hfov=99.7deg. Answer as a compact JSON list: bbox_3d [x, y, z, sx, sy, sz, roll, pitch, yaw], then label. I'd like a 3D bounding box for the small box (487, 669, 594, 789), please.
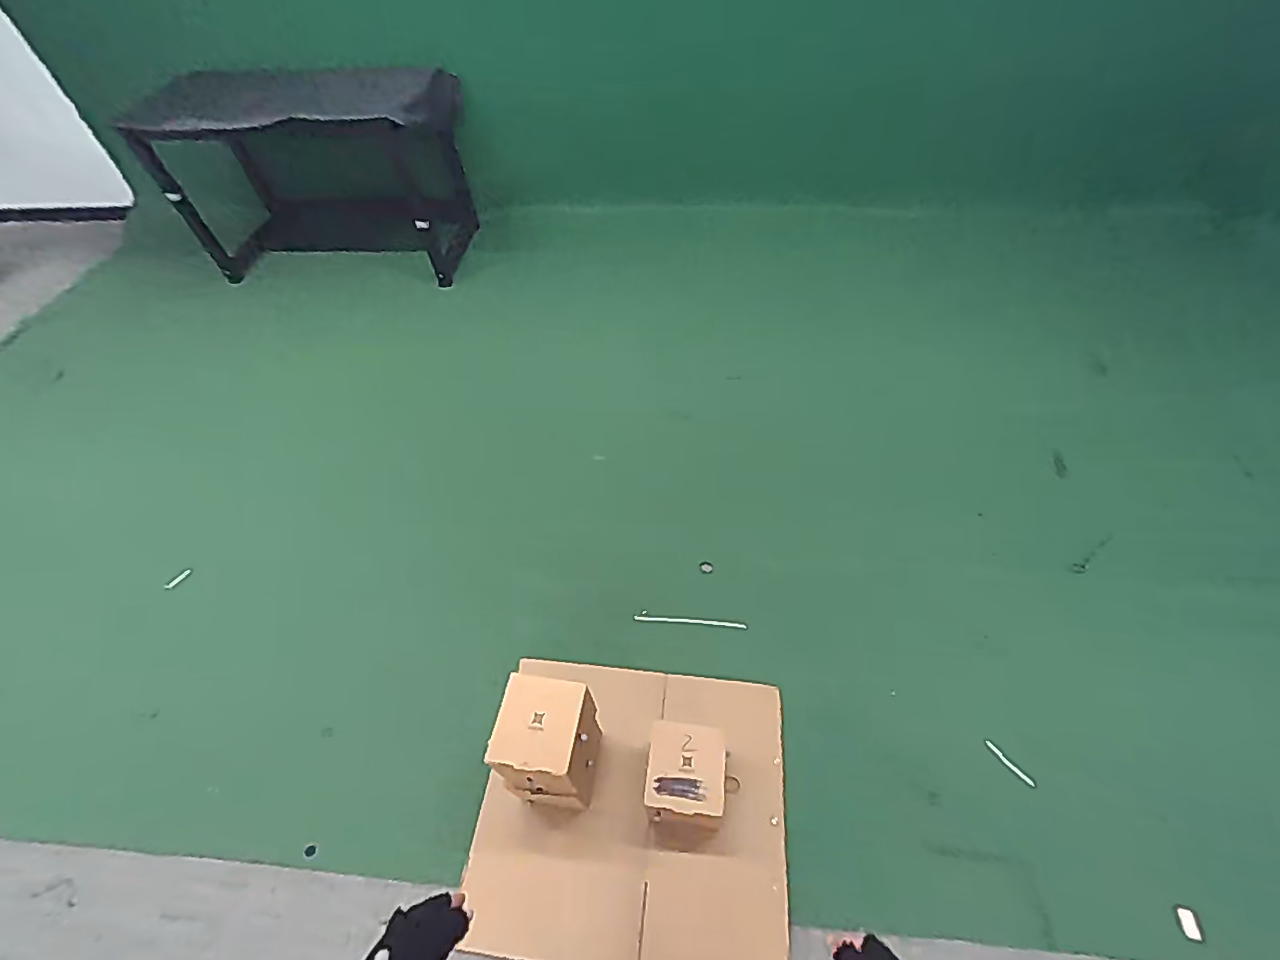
[{"bbox_3d":[-0.196,0.522,1.129,0.168,0.176,0.179,6,52,8],"label":"small box"}]

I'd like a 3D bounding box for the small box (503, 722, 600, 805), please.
[{"bbox_3d":[-0.194,0.633,1.248,0.168,0.176,0.179,4,51,8],"label":"small box"}]
